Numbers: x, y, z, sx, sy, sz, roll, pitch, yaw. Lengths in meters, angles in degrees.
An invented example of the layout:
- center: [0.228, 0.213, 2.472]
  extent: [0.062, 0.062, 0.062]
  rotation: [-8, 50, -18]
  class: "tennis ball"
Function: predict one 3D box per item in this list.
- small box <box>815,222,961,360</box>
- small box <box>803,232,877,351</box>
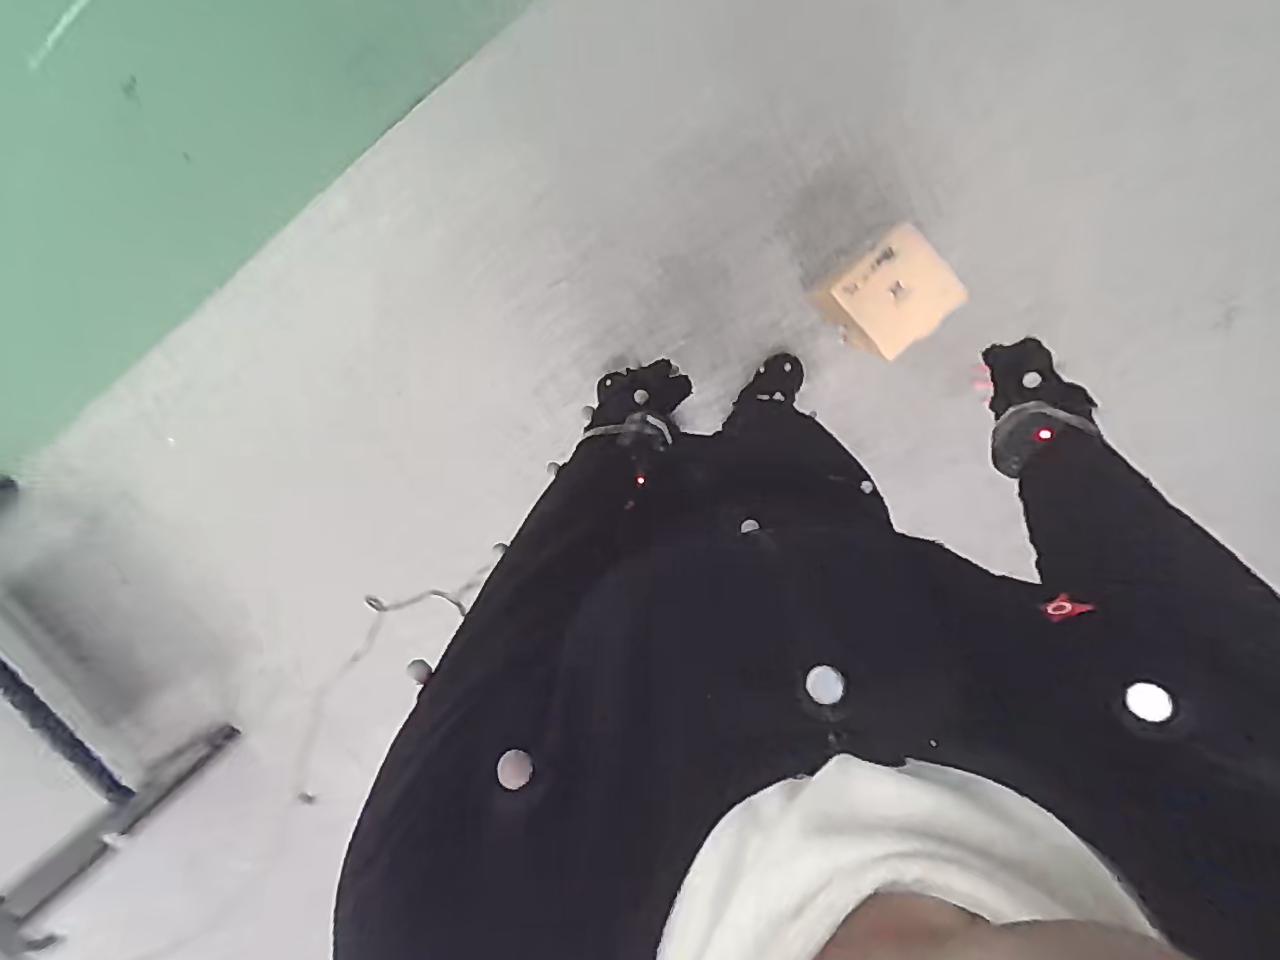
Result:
- center: [0.458, -0.356, 1.027]
  extent: [0.179, 0.176, 0.168]
  rotation: [45, 110, -6]
  class: "small box"
- center: [0.480, -0.406, 1.179]
  extent: [0.168, 0.176, 0.179]
  rotation: [-41, 96, 18]
  class: "small box"
